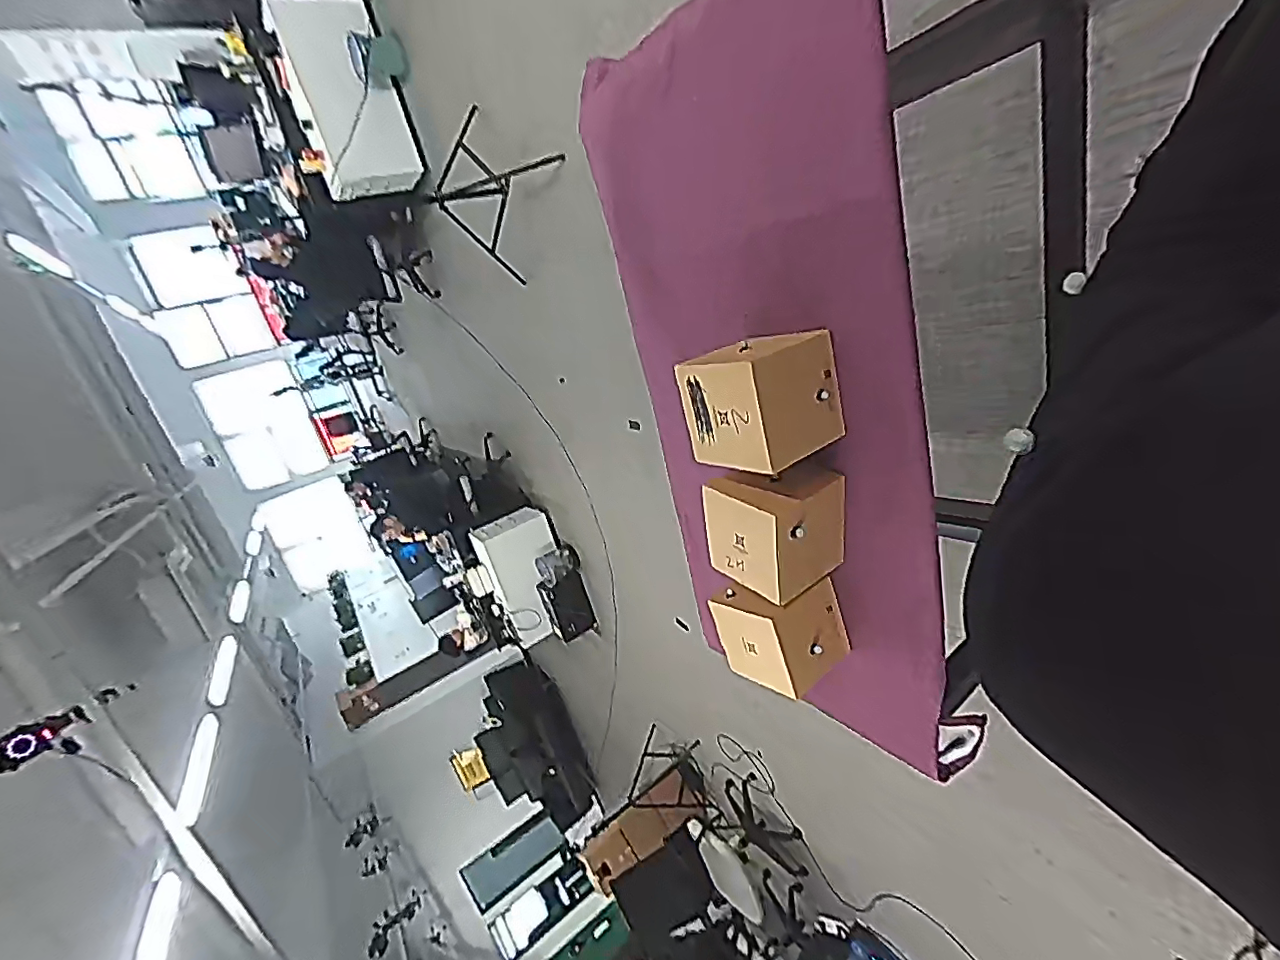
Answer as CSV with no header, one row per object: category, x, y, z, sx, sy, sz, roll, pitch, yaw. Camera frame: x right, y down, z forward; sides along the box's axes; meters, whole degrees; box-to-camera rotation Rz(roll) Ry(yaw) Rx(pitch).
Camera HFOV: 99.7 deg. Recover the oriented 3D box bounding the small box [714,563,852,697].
small box,0.278,0.274,1.032,0.179,0.176,0.168,-1,112,60
